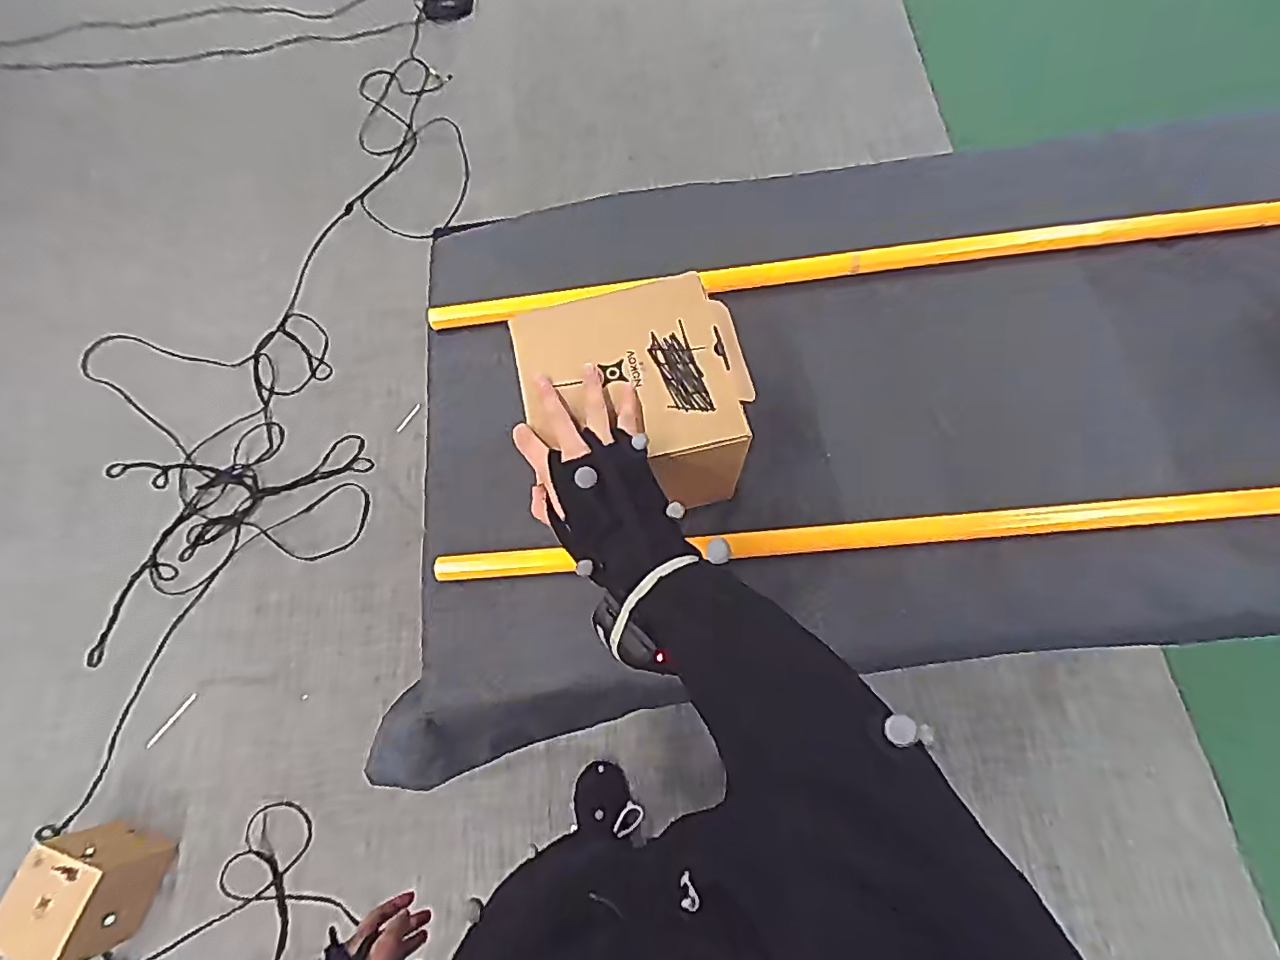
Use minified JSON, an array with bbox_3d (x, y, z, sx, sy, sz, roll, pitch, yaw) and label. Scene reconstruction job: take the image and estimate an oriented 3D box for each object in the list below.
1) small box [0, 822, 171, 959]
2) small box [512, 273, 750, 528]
[{"bbox_3d":[-1.103,0.820,1.075,0.168,0.176,0.179,14,72,9],"label":"small box"},{"bbox_3d":[-0.008,-0.065,0.529,0.179,0.176,0.168,-14,70,0],"label":"small box"}]
